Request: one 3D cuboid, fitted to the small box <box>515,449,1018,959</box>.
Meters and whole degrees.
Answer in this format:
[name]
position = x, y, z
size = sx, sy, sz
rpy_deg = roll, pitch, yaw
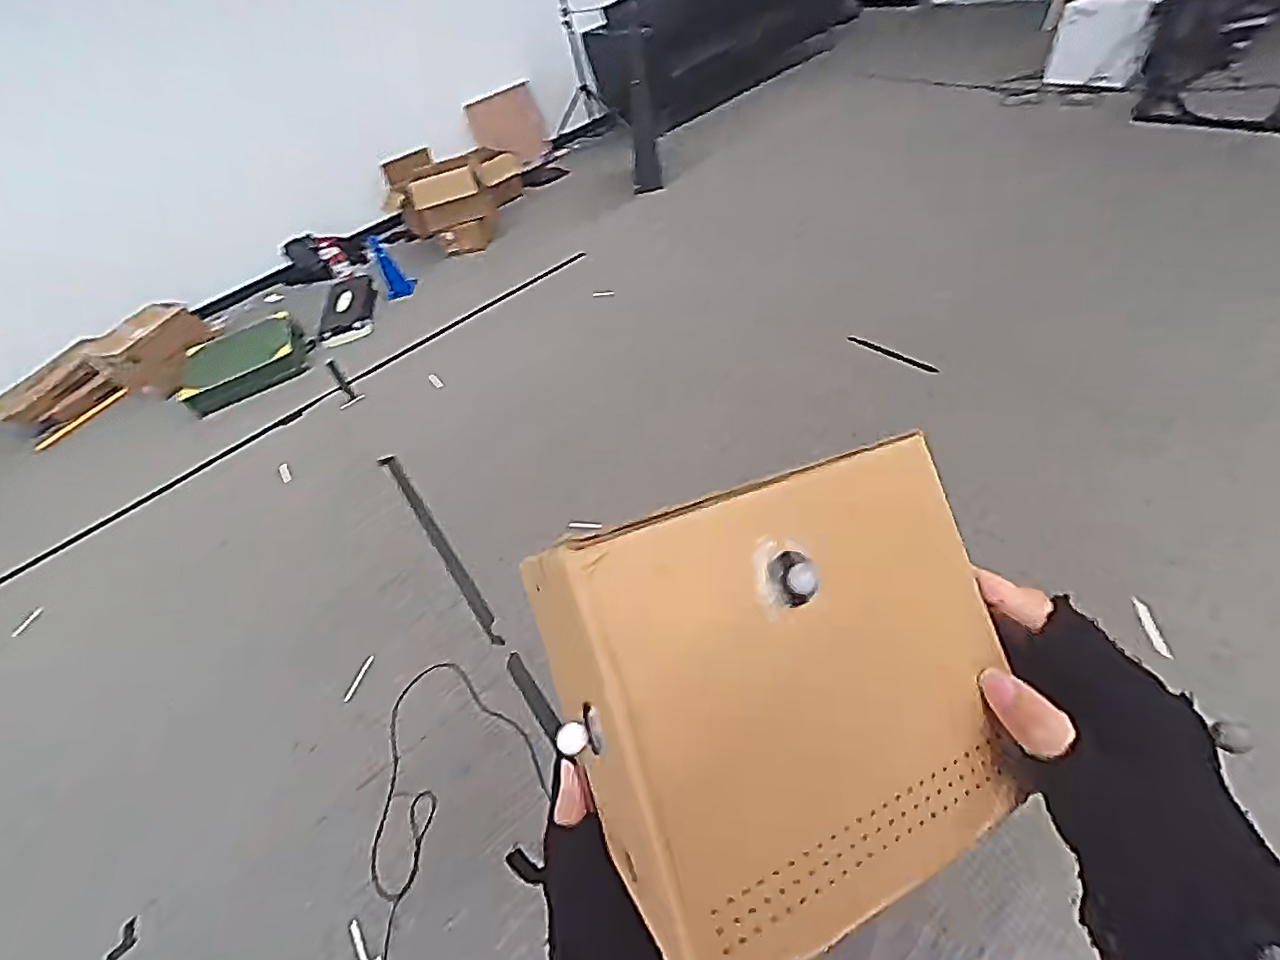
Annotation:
[small box]
position = 0.050, 0.101, 0.285
size = 0.179, 0.168, 0.176
rpy_deg = -16, 85, -22
